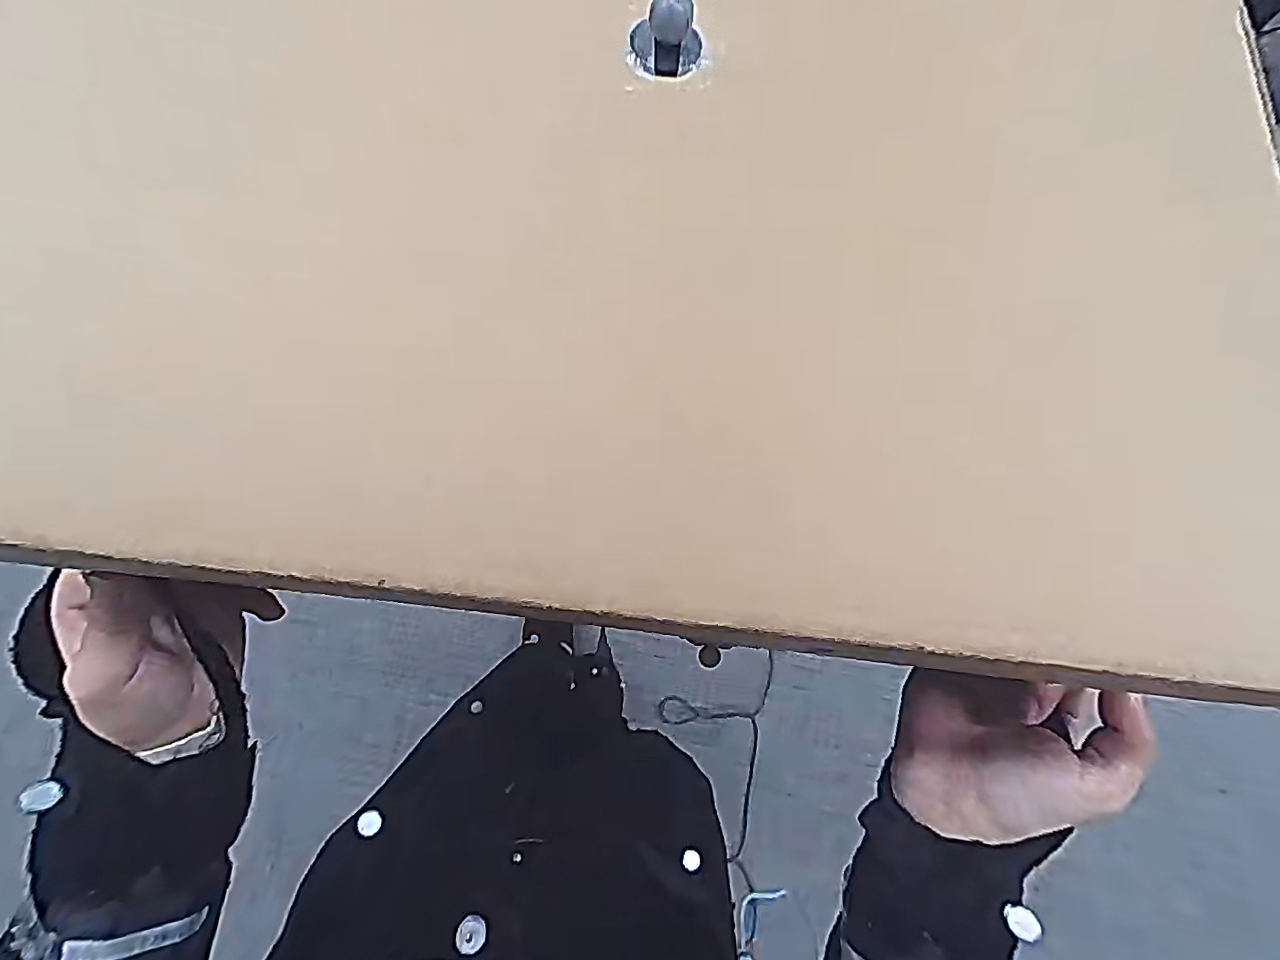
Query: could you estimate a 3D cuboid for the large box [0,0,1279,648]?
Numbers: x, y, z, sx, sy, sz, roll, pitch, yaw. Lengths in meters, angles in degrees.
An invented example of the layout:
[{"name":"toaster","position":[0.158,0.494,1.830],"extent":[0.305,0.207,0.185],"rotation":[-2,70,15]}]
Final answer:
[{"name":"large box","position":[-0.004,-0.092,0.309],"extent":[0.408,0.320,0.320],"rotation":[7,76,-2]}]
